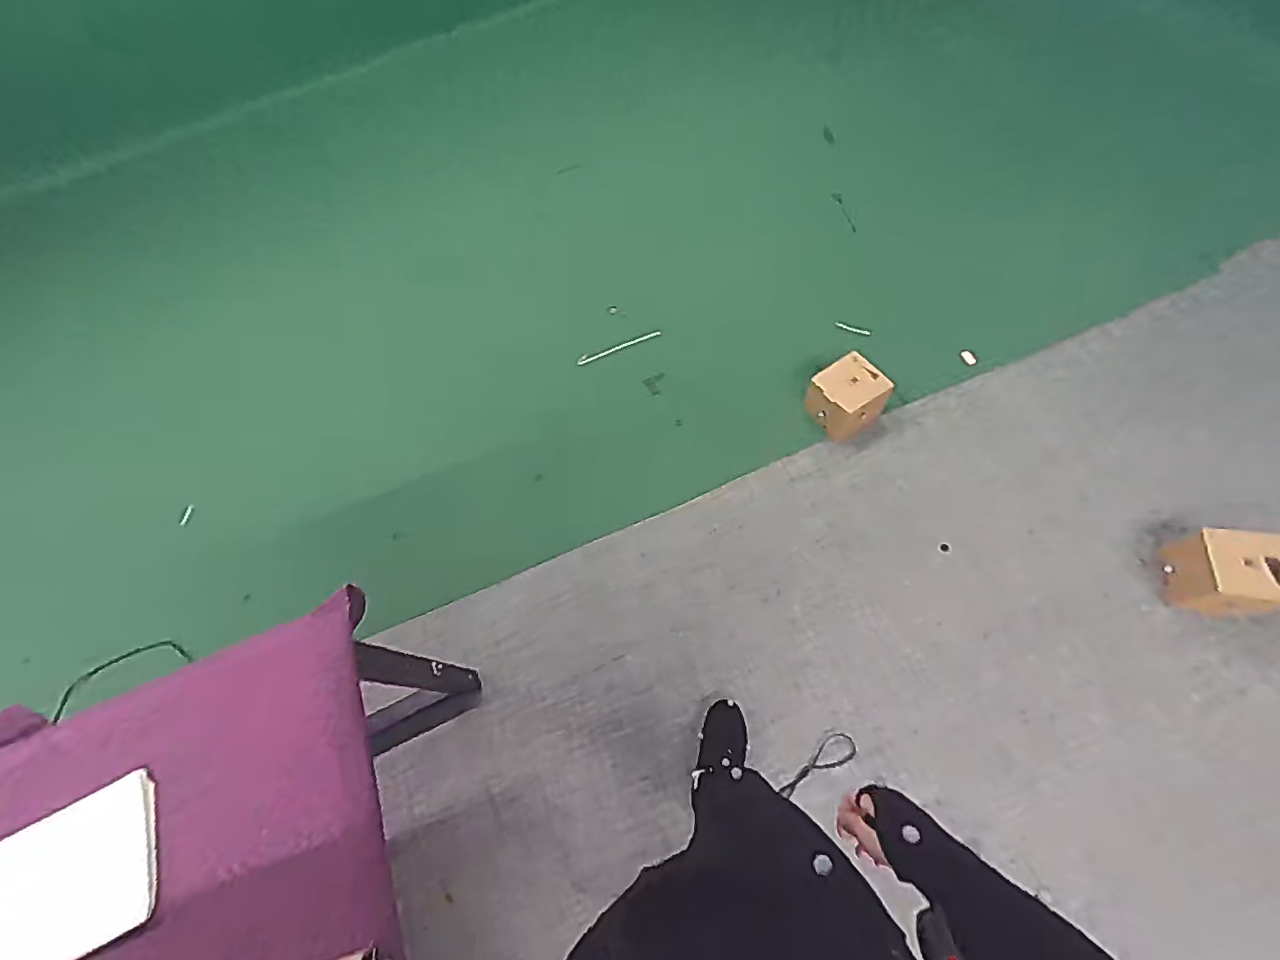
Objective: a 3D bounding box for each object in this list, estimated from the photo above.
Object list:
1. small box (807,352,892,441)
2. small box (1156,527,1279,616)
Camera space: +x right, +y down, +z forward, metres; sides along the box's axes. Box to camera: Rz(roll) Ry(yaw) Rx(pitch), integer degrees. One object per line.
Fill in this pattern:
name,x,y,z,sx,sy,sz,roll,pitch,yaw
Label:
small box,0.635,-0.251,1.669,0.179,0.176,0.168,-33,65,-8
small box,1.442,0.230,1.330,0.179,0.176,0.168,6,65,11
